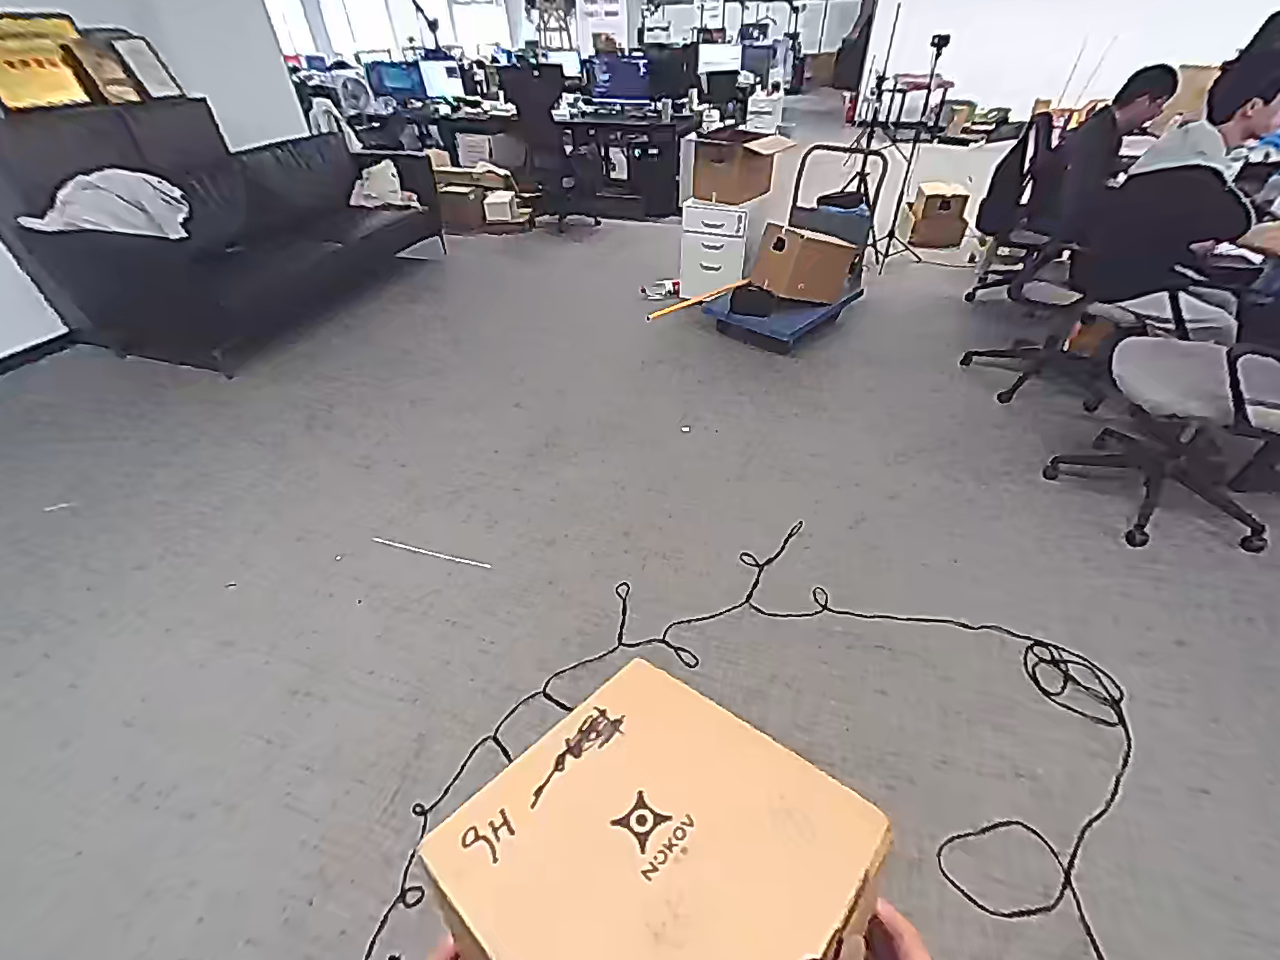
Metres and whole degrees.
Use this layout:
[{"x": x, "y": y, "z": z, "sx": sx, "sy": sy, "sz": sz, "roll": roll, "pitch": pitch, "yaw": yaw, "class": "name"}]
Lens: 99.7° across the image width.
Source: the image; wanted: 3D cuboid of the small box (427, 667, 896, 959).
[{"x": 0.013, "y": 0.253, "z": 0.305, "sx": 0.179, "sy": 0.176, "sz": 0.168, "roll": 21, "pitch": 36, "yaw": 39, "class": "small box"}]
